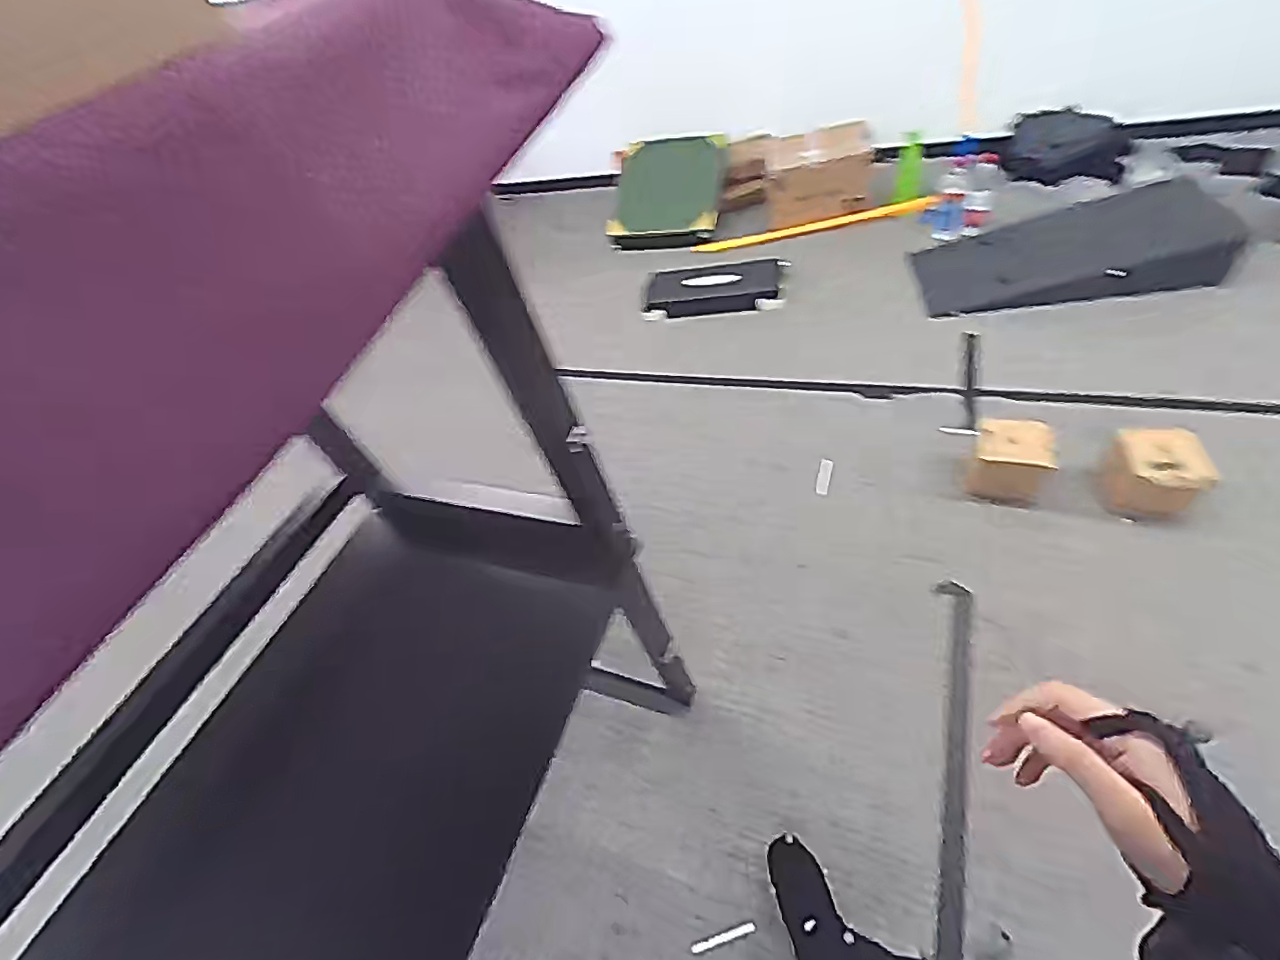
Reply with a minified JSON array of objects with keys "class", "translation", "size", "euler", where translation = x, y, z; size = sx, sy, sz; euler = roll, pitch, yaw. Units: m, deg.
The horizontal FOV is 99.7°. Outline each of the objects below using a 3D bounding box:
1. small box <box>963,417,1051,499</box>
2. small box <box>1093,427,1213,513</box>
[{"class":"small box","translation":[1.077,-0.062,1.598],"size":[0.179,0.176,0.168],"euler":[9,54,21]},{"class":"small box","translation":[1.388,-0.024,1.477],"size":[0.168,0.176,0.179],"euler":[2,51,18]}]
